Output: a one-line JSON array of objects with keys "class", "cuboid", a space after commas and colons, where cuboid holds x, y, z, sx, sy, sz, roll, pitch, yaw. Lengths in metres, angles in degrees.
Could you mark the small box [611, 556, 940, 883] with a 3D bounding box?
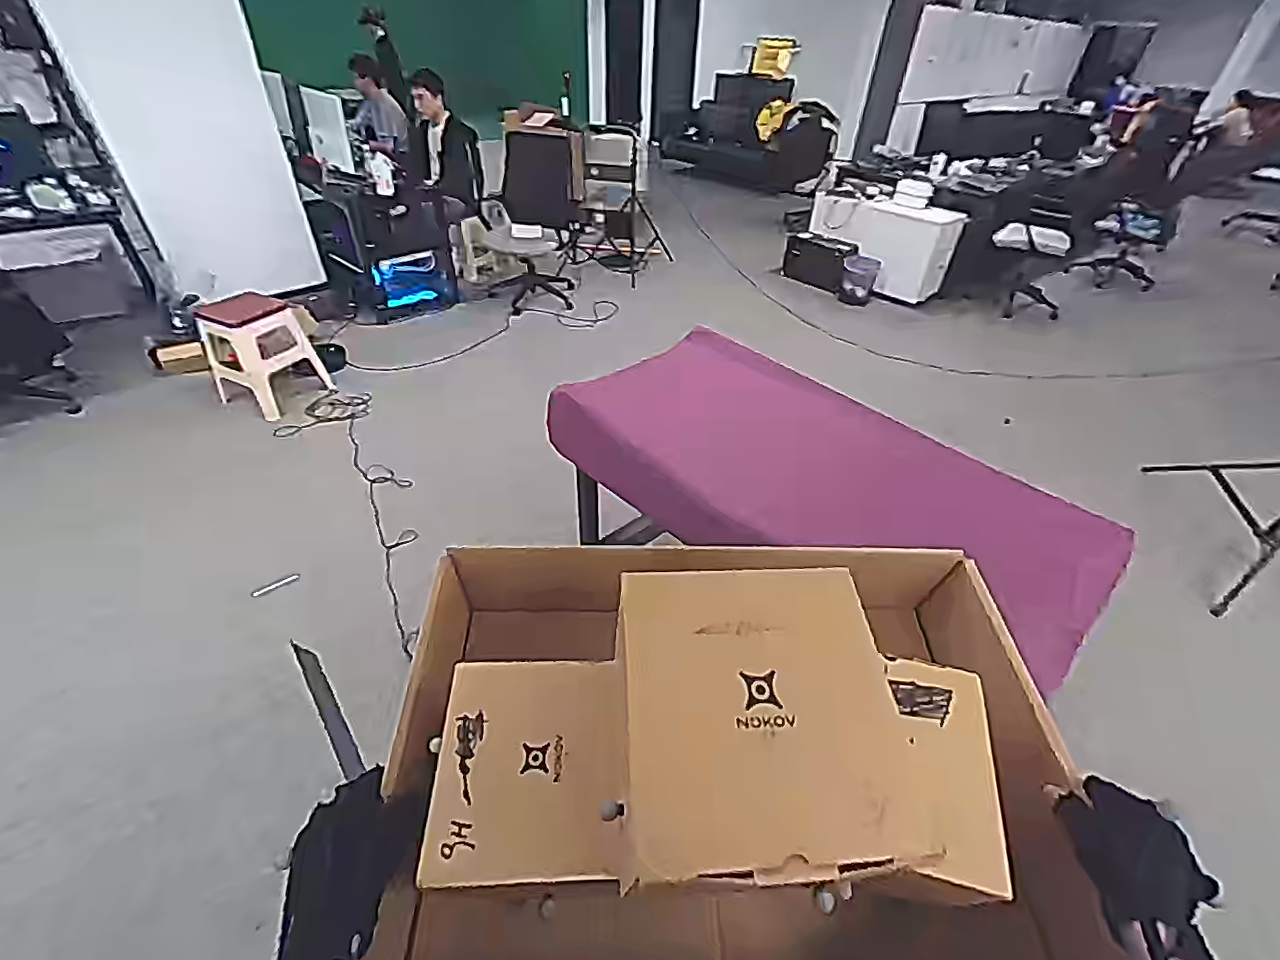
[{"class": "small box", "cuboid": [0.066, 0.173, 0.386, 0.168, 0.176, 0.179, -1, 50, -6]}]
